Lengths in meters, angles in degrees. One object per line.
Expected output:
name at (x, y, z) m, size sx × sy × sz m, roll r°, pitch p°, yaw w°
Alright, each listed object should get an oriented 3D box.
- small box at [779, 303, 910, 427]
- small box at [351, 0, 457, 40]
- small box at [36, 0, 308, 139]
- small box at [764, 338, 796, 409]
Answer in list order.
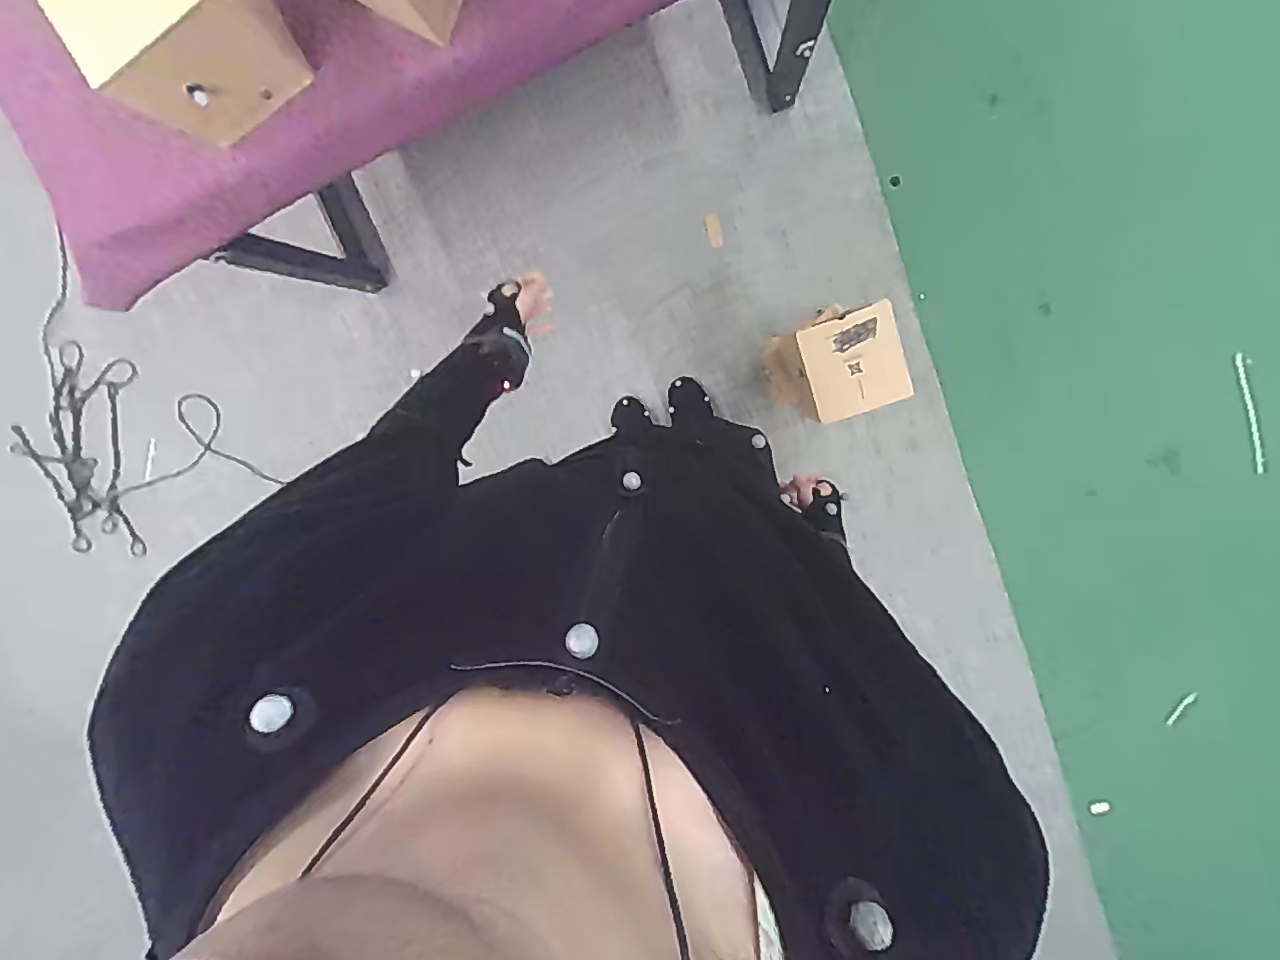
small box at (0.373, -0.213, 1.016) m, size 0.168 × 0.176 × 0.179 m, roll -18°, pitch 101°, yaw 8°
small box at (-0.289, -0.628, 0.579) m, size 0.179 × 0.176 × 0.168 m, roll 28°, pitch 102°, yaw 0°
small box at (-0.537, -0.534, 0.625) m, size 0.168 × 0.176 × 0.179 m, roll -28°, pitch 97°, yaw 10°
small box at (0.407, -0.276, 1.338) m, size 0.179 × 0.176 × 0.168 m, roll -10°, pitch 101°, yaw 8°
